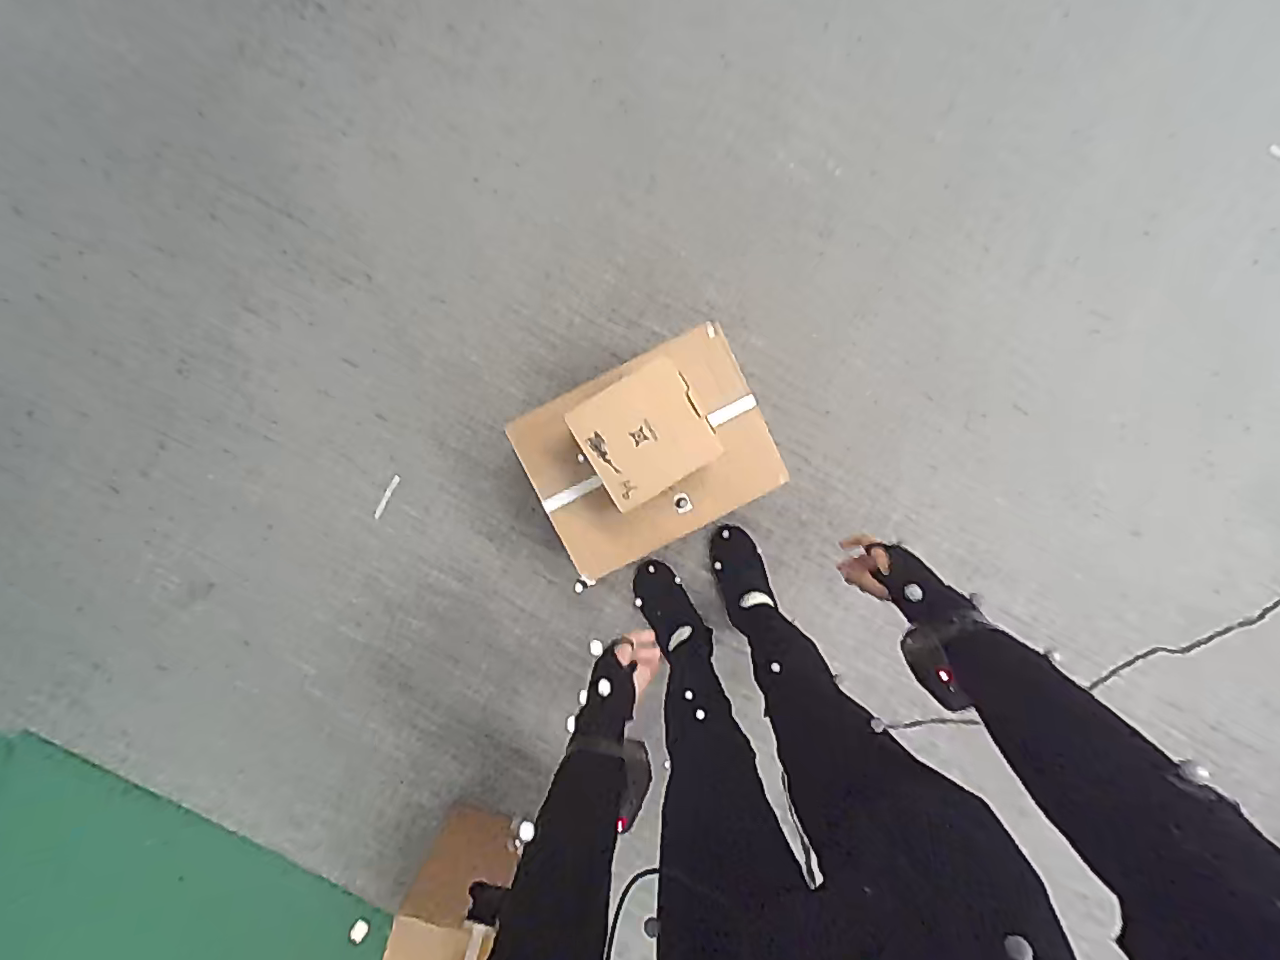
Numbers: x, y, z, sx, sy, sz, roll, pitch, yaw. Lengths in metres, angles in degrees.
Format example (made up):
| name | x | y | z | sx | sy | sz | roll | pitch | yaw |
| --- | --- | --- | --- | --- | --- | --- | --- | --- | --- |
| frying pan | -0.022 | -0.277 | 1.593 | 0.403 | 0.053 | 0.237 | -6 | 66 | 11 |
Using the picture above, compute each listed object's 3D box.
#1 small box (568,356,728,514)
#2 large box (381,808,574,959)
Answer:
| name | x | y | z | sx | sy | sz | roll | pitch | yaw |
| --- | --- | --- | --- | --- | --- | --- | --- | --- | --- |
| small box | 0.009 | -0.065 | 0.835 | 0.179 | 0.176 | 0.168 | -31 | 91 | 0 |
| large box | -0.341 | 0.990 | 1.122 | 0.320 | 0.320 | 0.408 | 15 | 93 | 0 |
